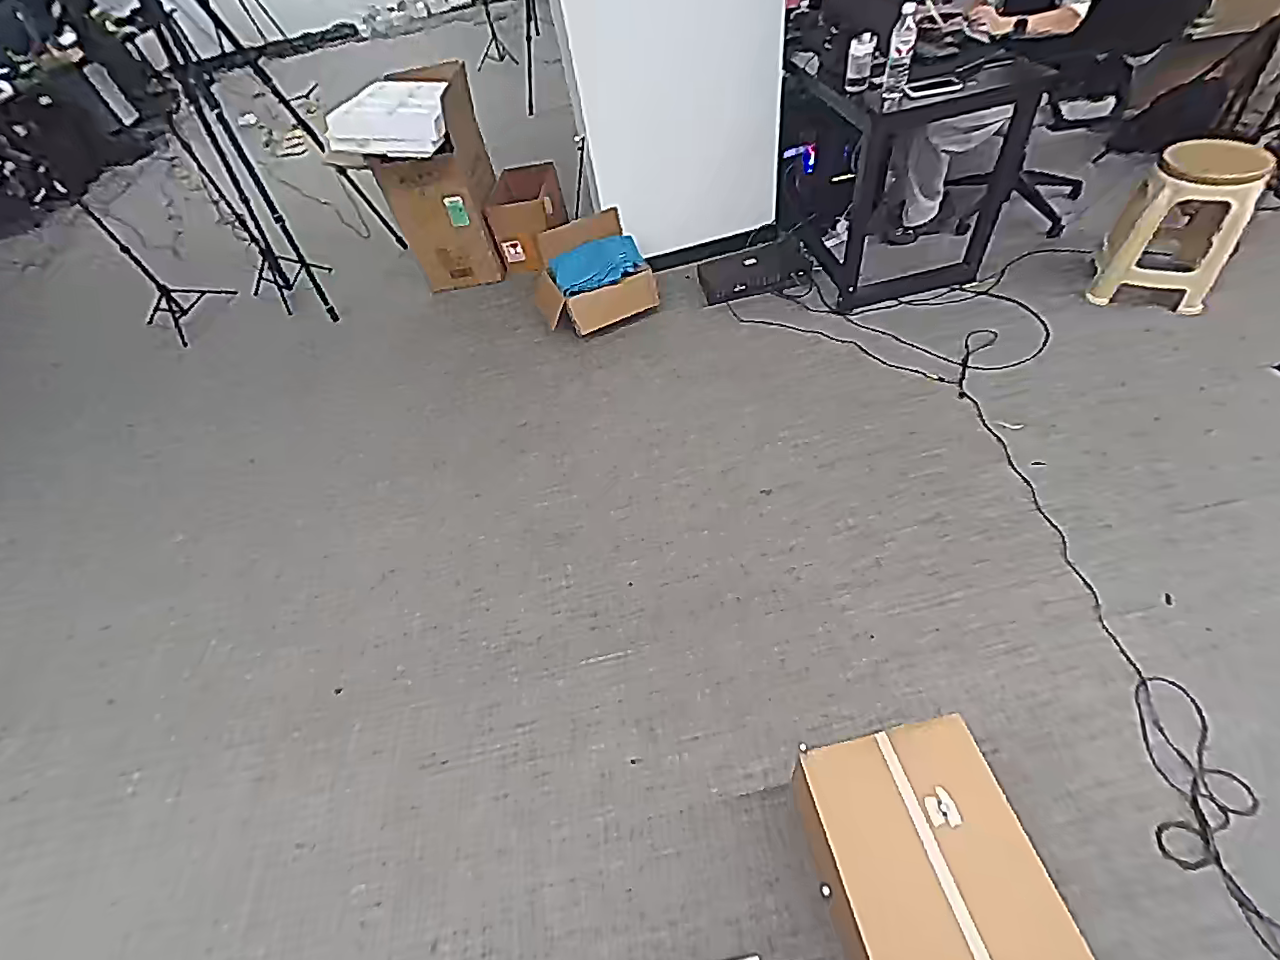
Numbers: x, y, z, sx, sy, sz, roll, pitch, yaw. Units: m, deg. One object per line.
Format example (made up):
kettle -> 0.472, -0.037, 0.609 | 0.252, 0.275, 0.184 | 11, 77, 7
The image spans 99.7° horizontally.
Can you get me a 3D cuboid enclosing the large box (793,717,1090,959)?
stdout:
large box -> 0.510, 0.726, 1.010 | 0.320, 0.320, 0.408 | -13, 49, -1
